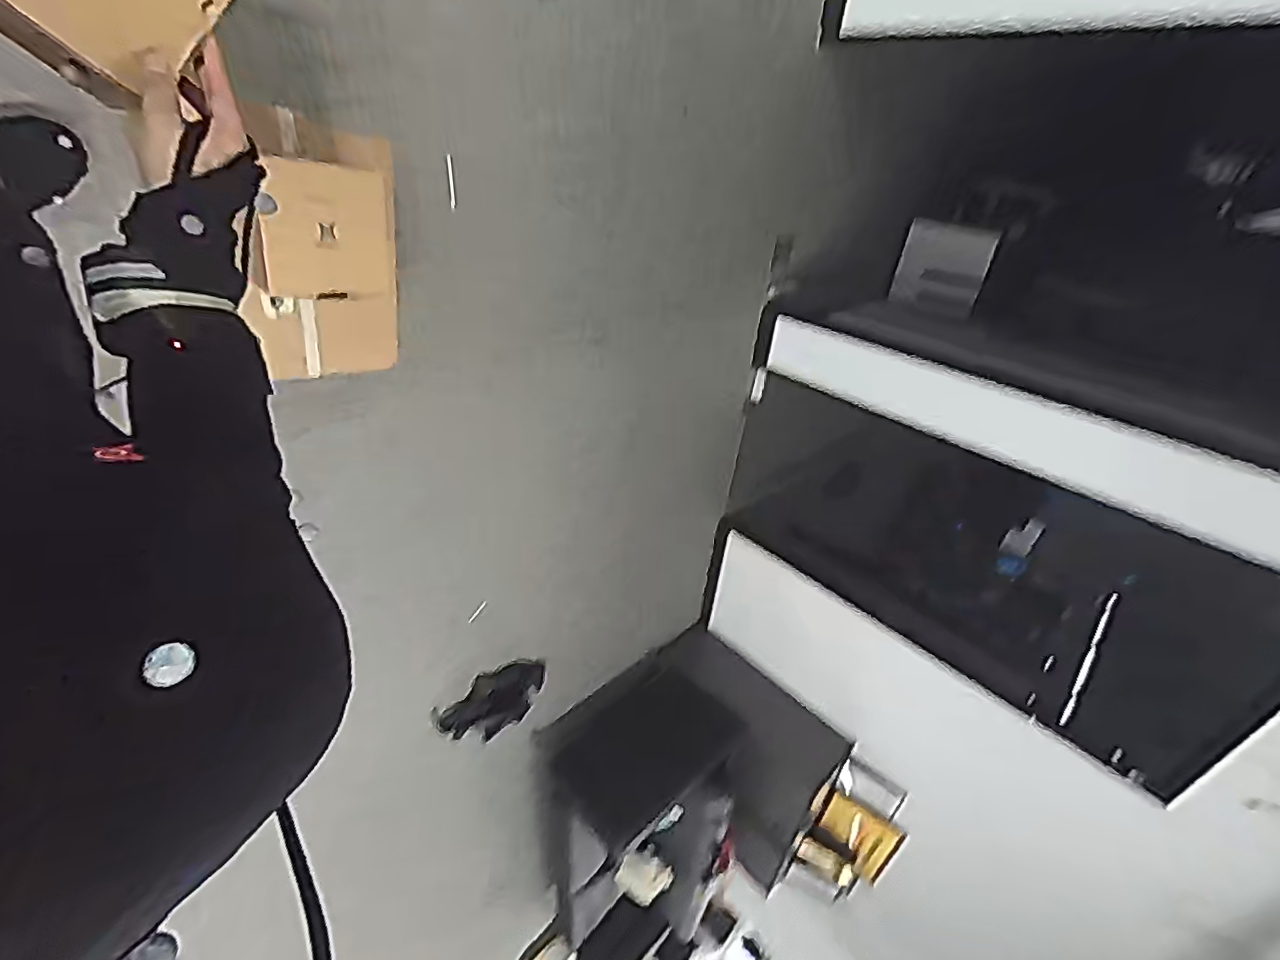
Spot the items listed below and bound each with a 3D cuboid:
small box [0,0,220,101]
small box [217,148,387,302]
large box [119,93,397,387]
[{"bbox_3d":[-0.404,-0.389,0.355,0.168,0.176,0.179,-61,148,-2],"label":"small box"},{"bbox_3d":[-0.496,-0.374,0.803,0.168,0.176,0.179,-19,129,-43],"label":"small box"},{"bbox_3d":[-0.667,-0.426,0.981,0.320,0.320,0.408,-17,130,-42],"label":"large box"}]
